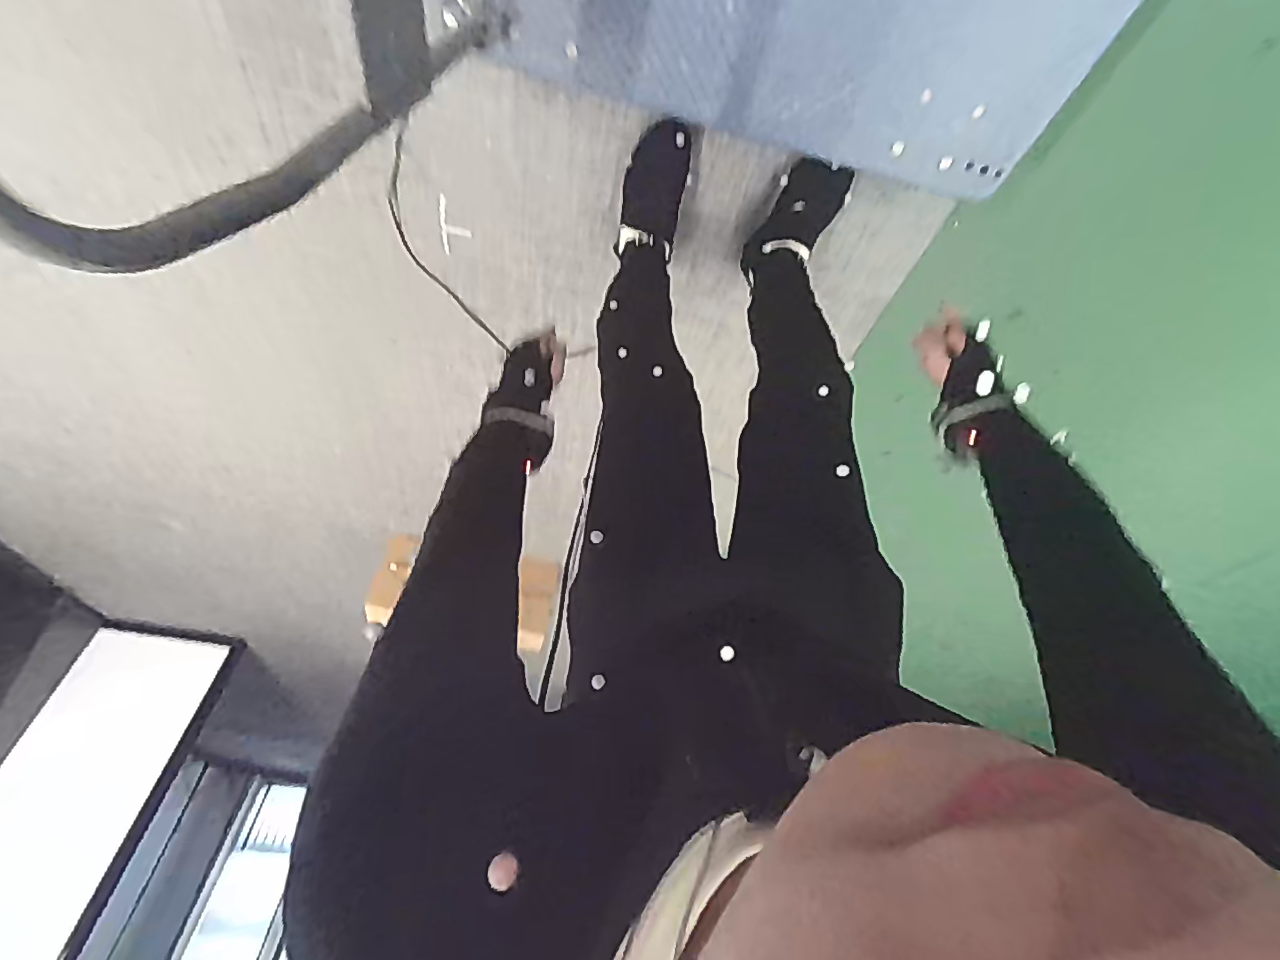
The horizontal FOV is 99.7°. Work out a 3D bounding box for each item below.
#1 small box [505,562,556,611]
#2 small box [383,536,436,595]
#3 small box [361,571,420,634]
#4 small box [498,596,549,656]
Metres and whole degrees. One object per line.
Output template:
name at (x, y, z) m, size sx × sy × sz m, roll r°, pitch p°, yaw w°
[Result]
small box at (-0.465, 0.469, 2.311) m, size 0.179 × 0.176 × 0.168 m, roll 15°, pitch 140°, yaw -10°
small box at (-0.960, 0.360, 2.240) m, size 0.168 × 0.176 × 0.179 m, roll 18°, pitch 139°, yaw -17°
small box at (-0.982, 0.485, 2.142) m, size 0.168 × 0.176 × 0.179 m, roll 16°, pitch 140°, yaw -11°
small box at (-0.473, 0.595, 2.207) m, size 0.168 × 0.176 × 0.179 m, roll 15°, pitch 139°, yaw -10°
